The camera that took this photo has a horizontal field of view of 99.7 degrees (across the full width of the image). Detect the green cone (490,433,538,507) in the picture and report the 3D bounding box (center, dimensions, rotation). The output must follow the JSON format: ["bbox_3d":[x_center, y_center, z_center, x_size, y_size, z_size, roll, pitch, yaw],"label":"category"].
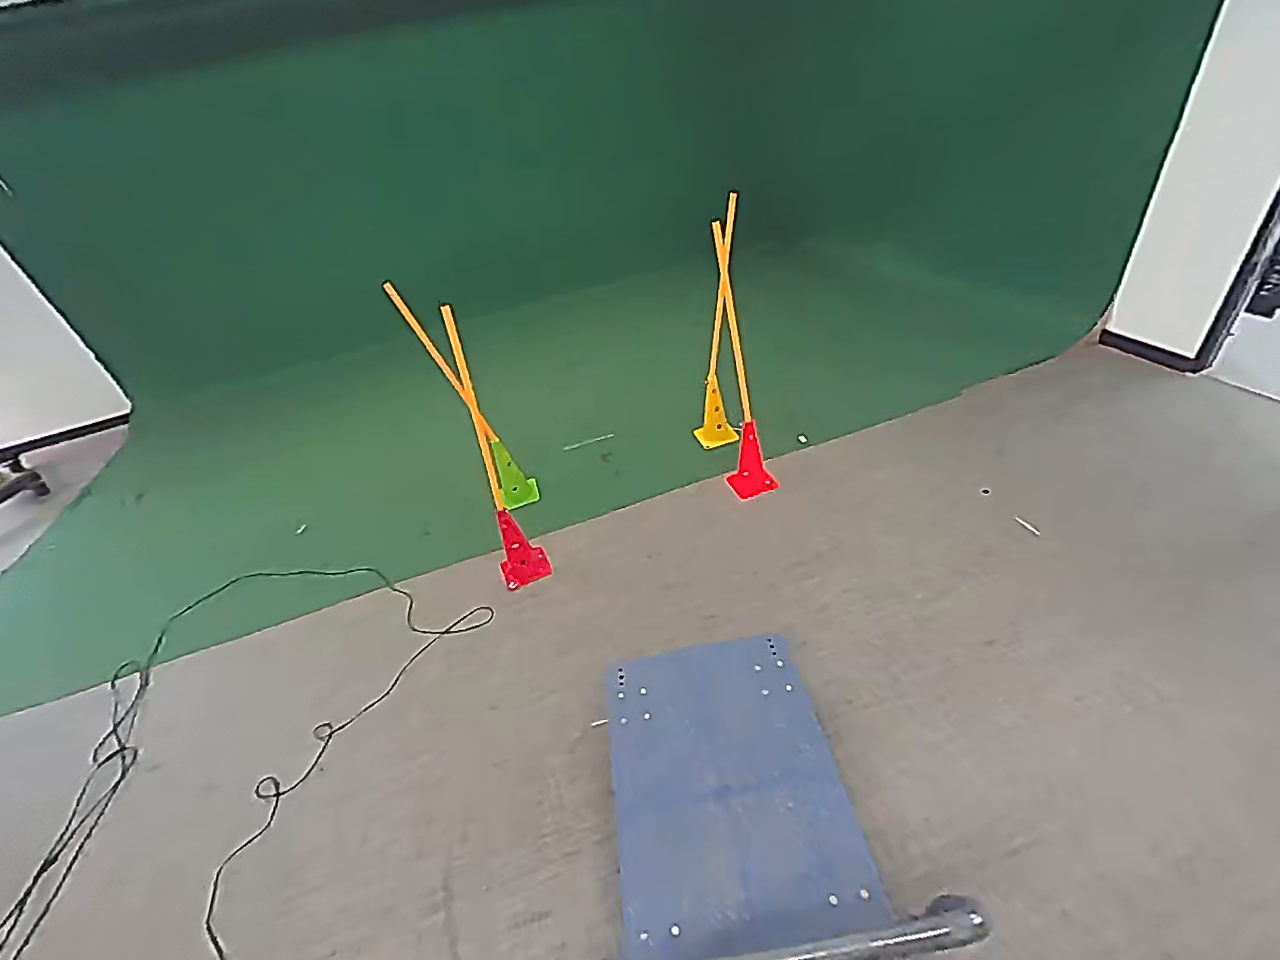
[{"bbox_3d":[-0.664,-0.076,2.696,0.200,0.368,0.202,-19,37,-7],"label":"green cone"}]

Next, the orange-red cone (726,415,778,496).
[{"bbox_3d":[0.501,-0.137,2.462,0.198,0.360,0.199,-17,36,-8],"label":"orange-red cone"}]
